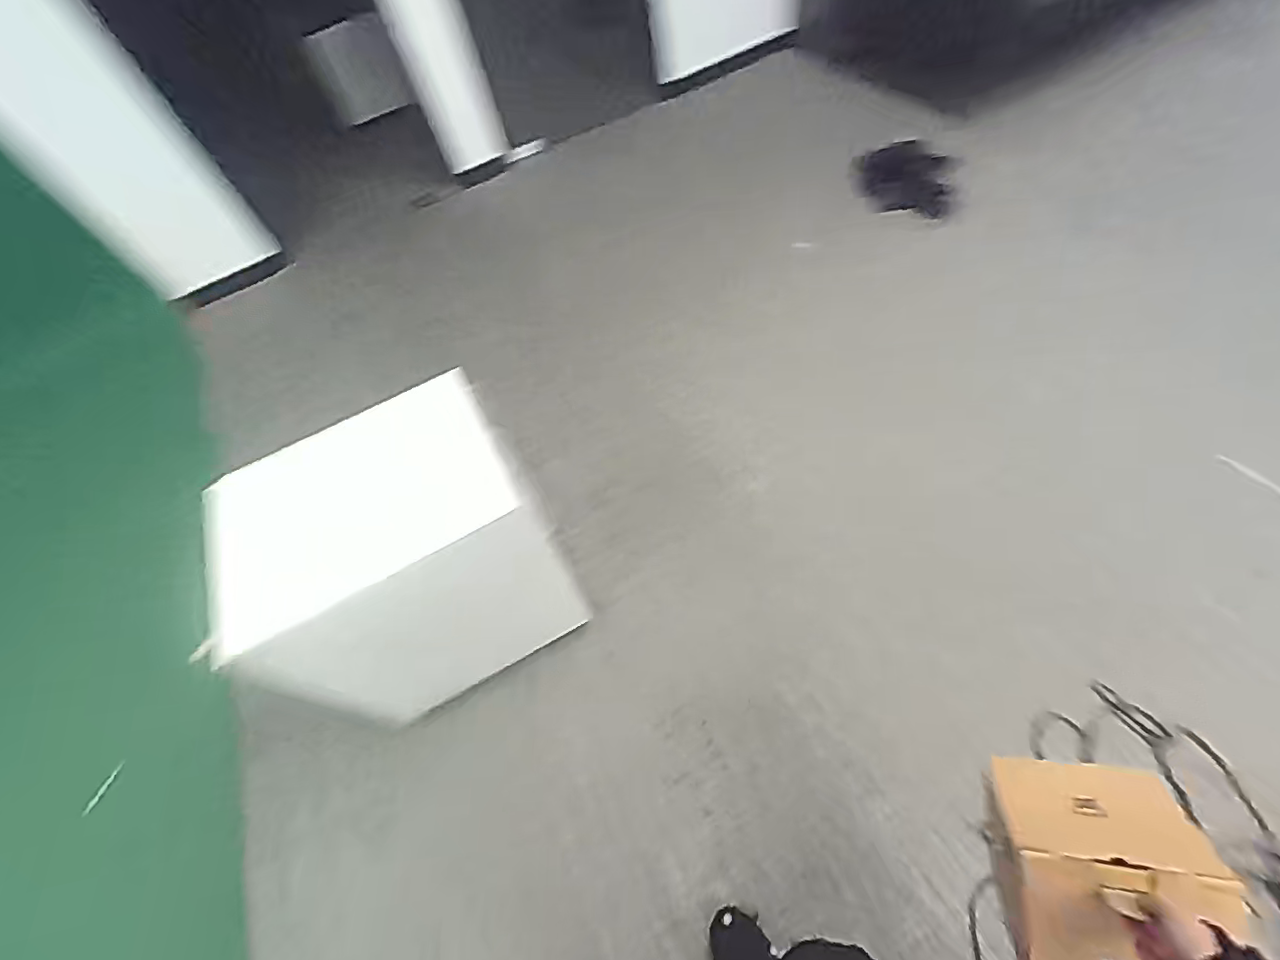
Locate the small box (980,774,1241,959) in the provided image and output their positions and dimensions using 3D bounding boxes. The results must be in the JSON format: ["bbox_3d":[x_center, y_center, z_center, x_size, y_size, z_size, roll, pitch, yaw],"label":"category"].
[{"bbox_3d":[0.474,0.449,0.571,0.168,0.179,0.176,-5,91,22],"label":"small box"}]
